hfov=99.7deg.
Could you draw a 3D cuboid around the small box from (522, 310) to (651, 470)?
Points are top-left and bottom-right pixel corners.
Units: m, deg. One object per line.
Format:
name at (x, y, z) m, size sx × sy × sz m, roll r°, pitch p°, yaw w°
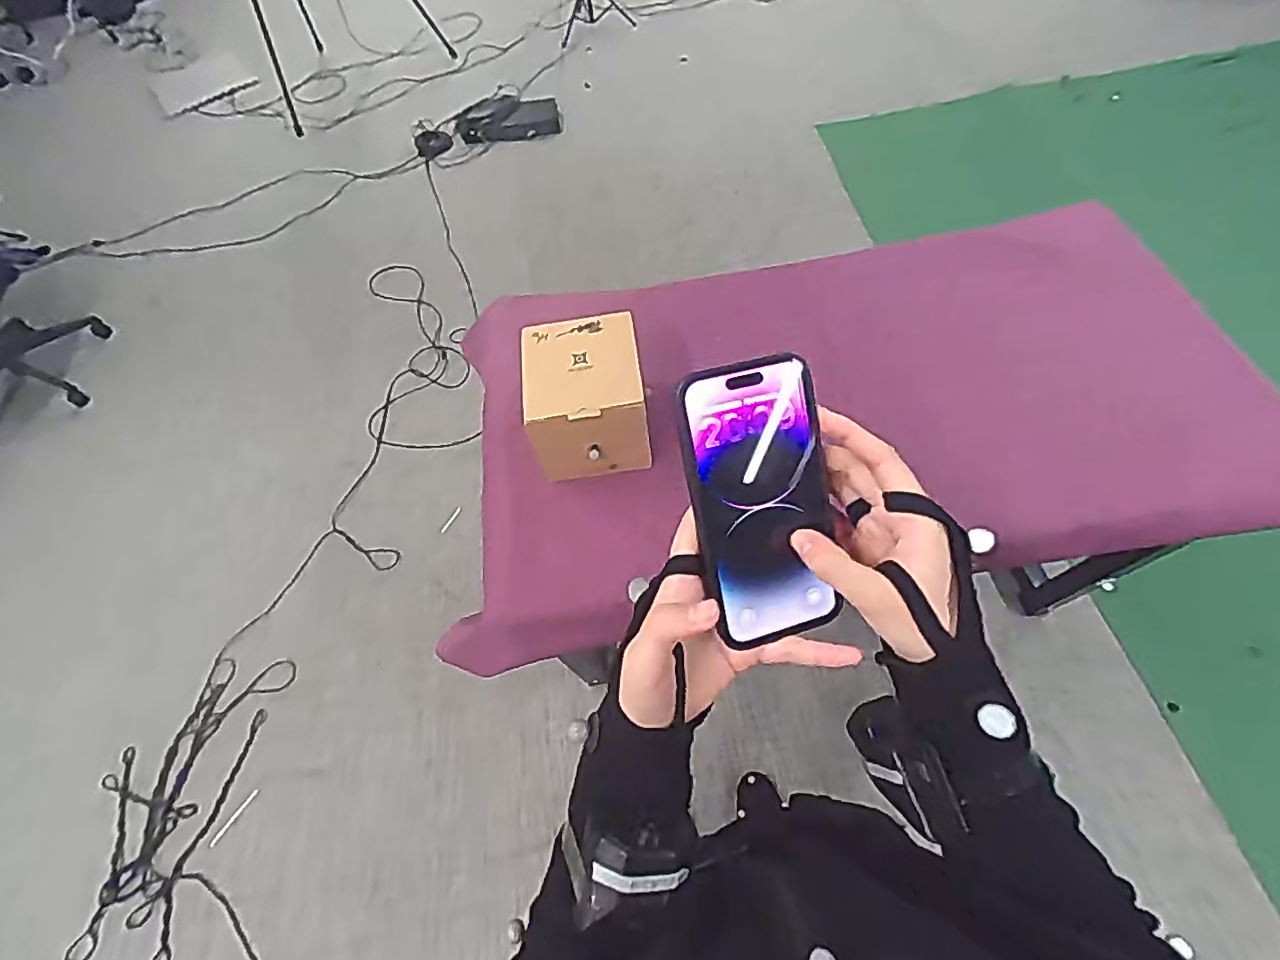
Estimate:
small box at (-0.077, -0.127, 0.829) m, size 0.168 × 0.176 × 0.179 m, roll -8°, pitch 61°, yaw 1°
